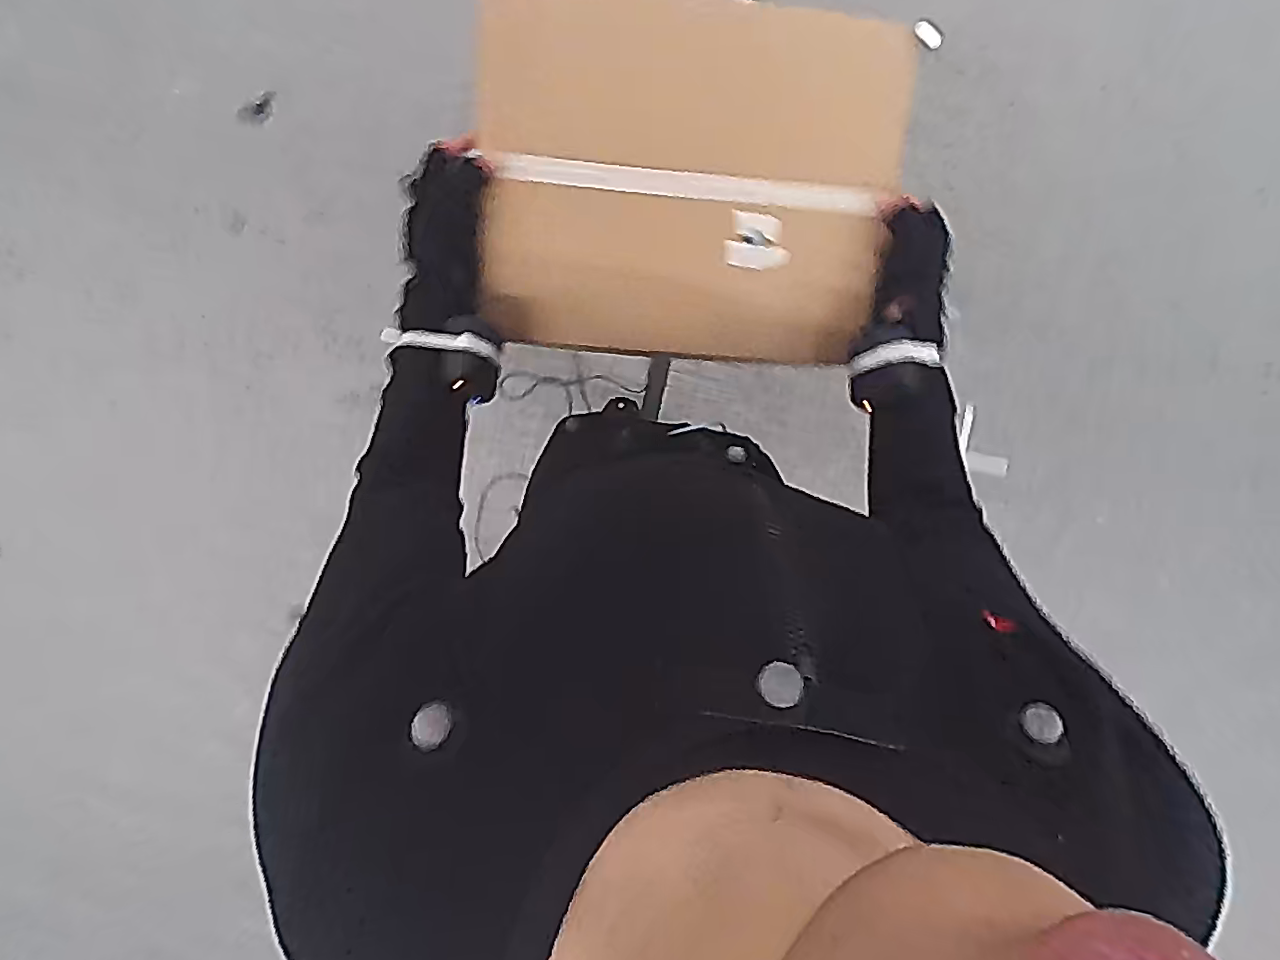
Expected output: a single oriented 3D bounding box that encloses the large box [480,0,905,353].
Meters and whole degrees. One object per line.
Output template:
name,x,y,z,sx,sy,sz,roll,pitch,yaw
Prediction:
large box,0.032,-0.328,0.672,0.408,0.320,0.320,3,104,-6
